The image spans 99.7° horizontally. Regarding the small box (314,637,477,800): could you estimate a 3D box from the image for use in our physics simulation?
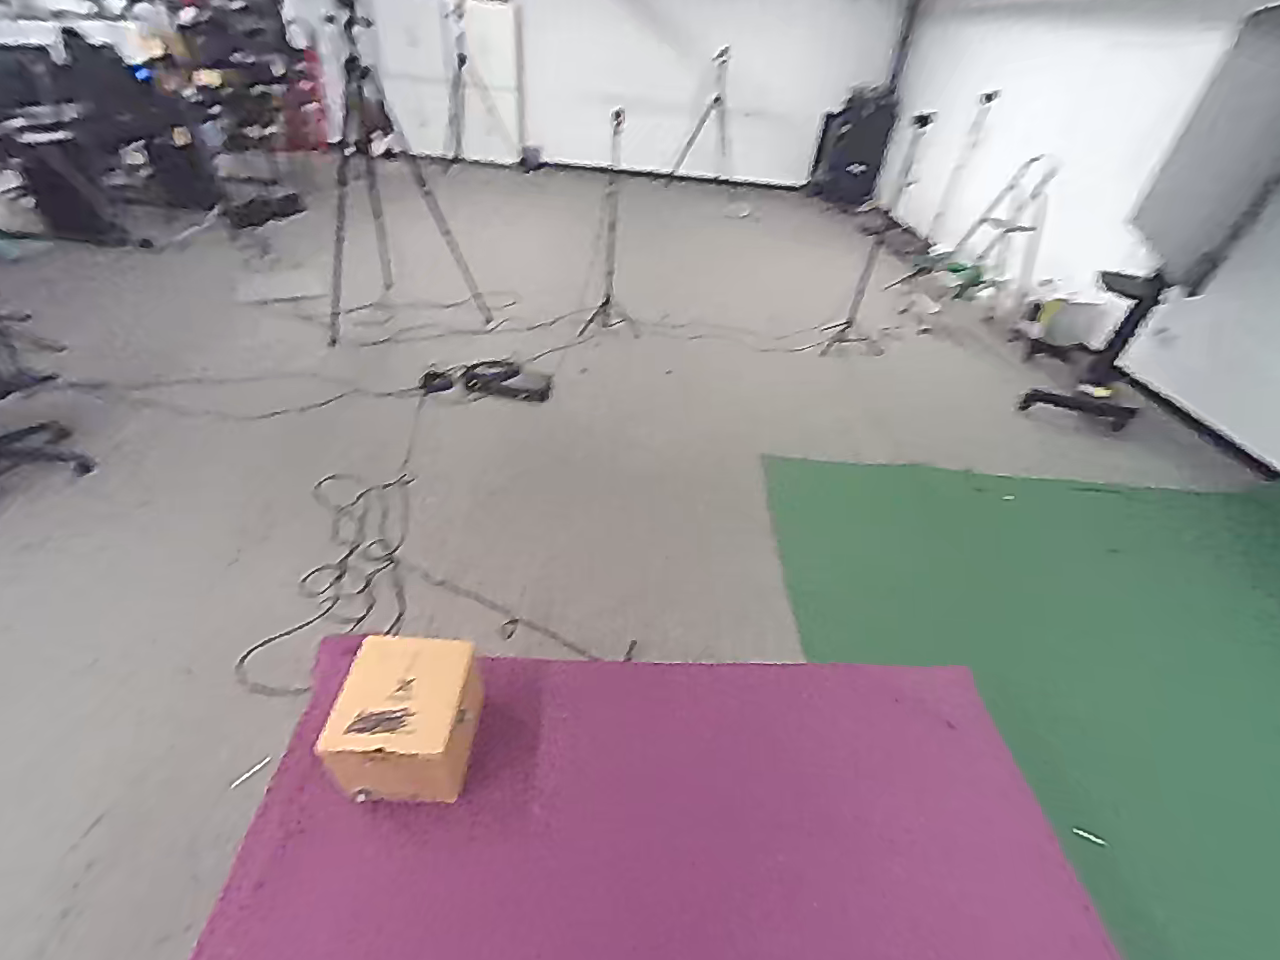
[{"bbox_3d":[-0.350,0.364,0.819,0.168,0.176,0.179,5,41,-4],"label":"small box"}]
